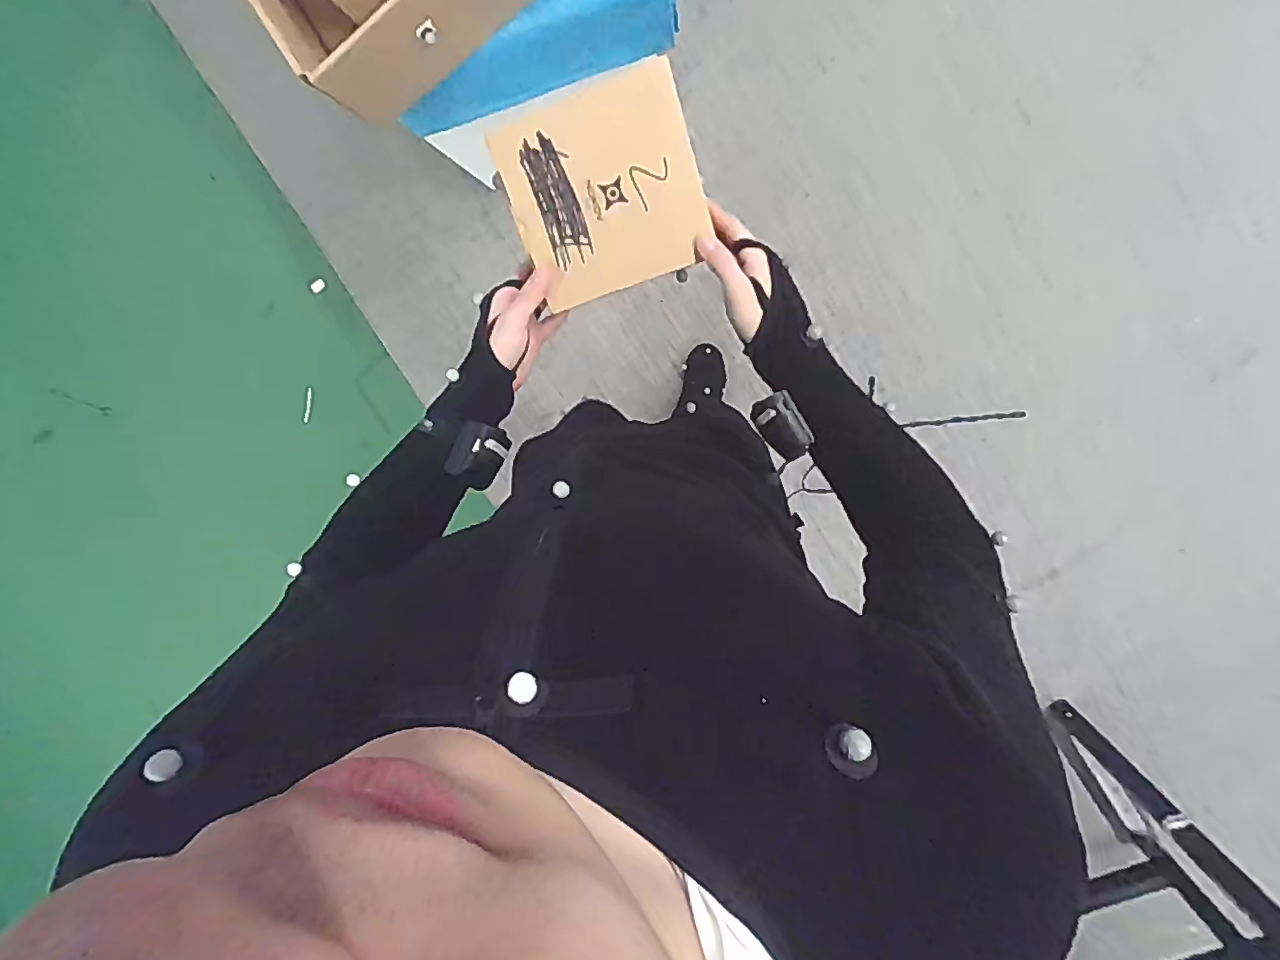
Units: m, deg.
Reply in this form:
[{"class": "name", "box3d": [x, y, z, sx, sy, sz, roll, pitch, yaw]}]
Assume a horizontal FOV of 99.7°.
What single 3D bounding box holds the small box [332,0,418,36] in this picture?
[{"class": "small box", "box3d": [-0.420, -0.802, 0.766, 0.168, 0.176, 0.179, -30, 95, 13]}]
